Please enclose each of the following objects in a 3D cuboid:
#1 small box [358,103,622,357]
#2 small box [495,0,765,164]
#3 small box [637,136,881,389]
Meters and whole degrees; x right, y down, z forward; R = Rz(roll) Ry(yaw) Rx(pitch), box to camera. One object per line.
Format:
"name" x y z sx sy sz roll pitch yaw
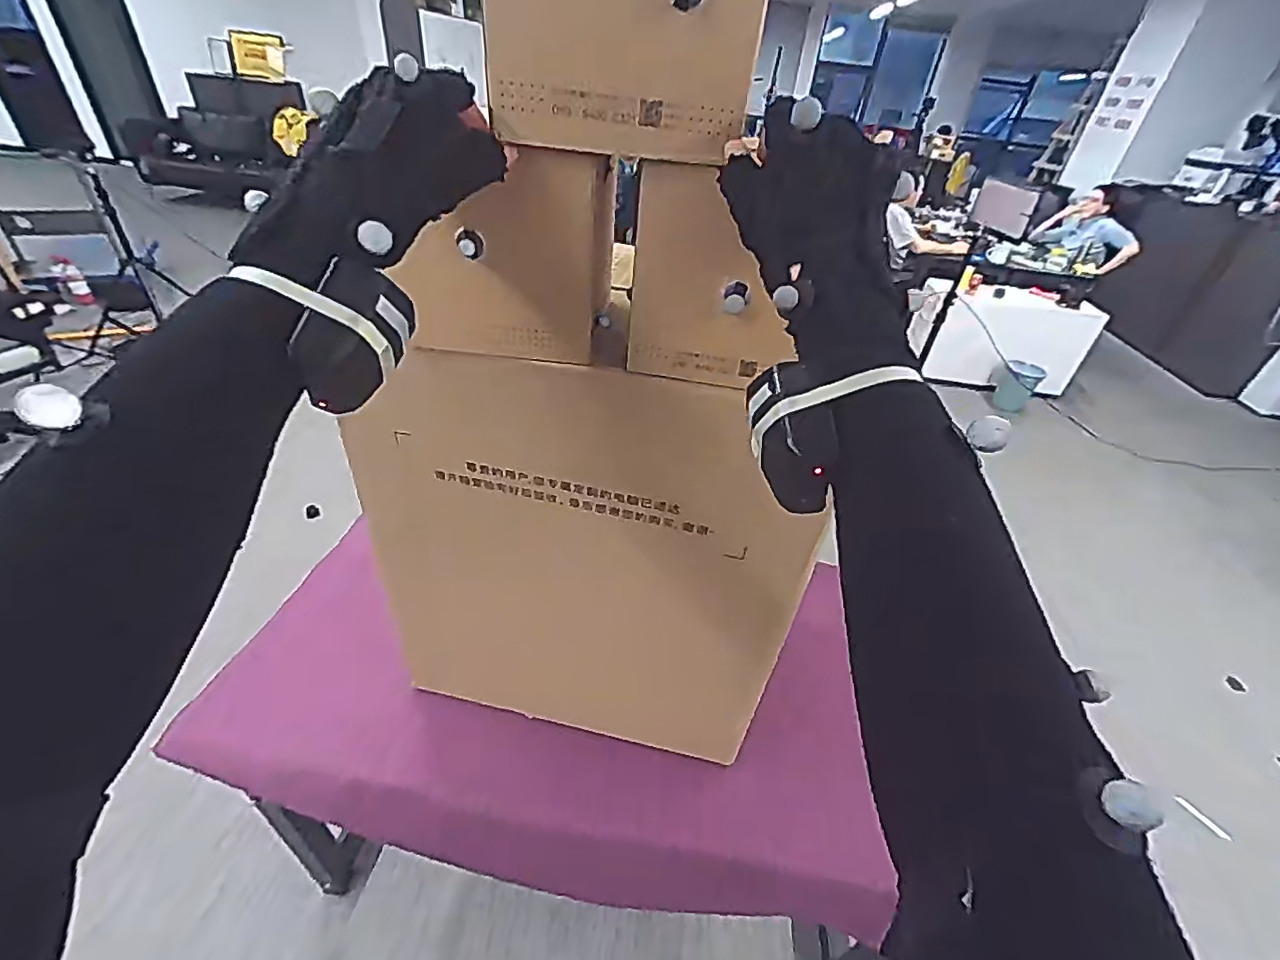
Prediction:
"small box" -0.113 -0.225 0.490 0.179 0.176 0.168 6 38 1
"small box" -0.005 -0.335 0.382 0.168 0.176 0.179 5 38 -4
"small box" 0.093 -0.200 0.486 0.168 0.176 0.179 10 39 4
